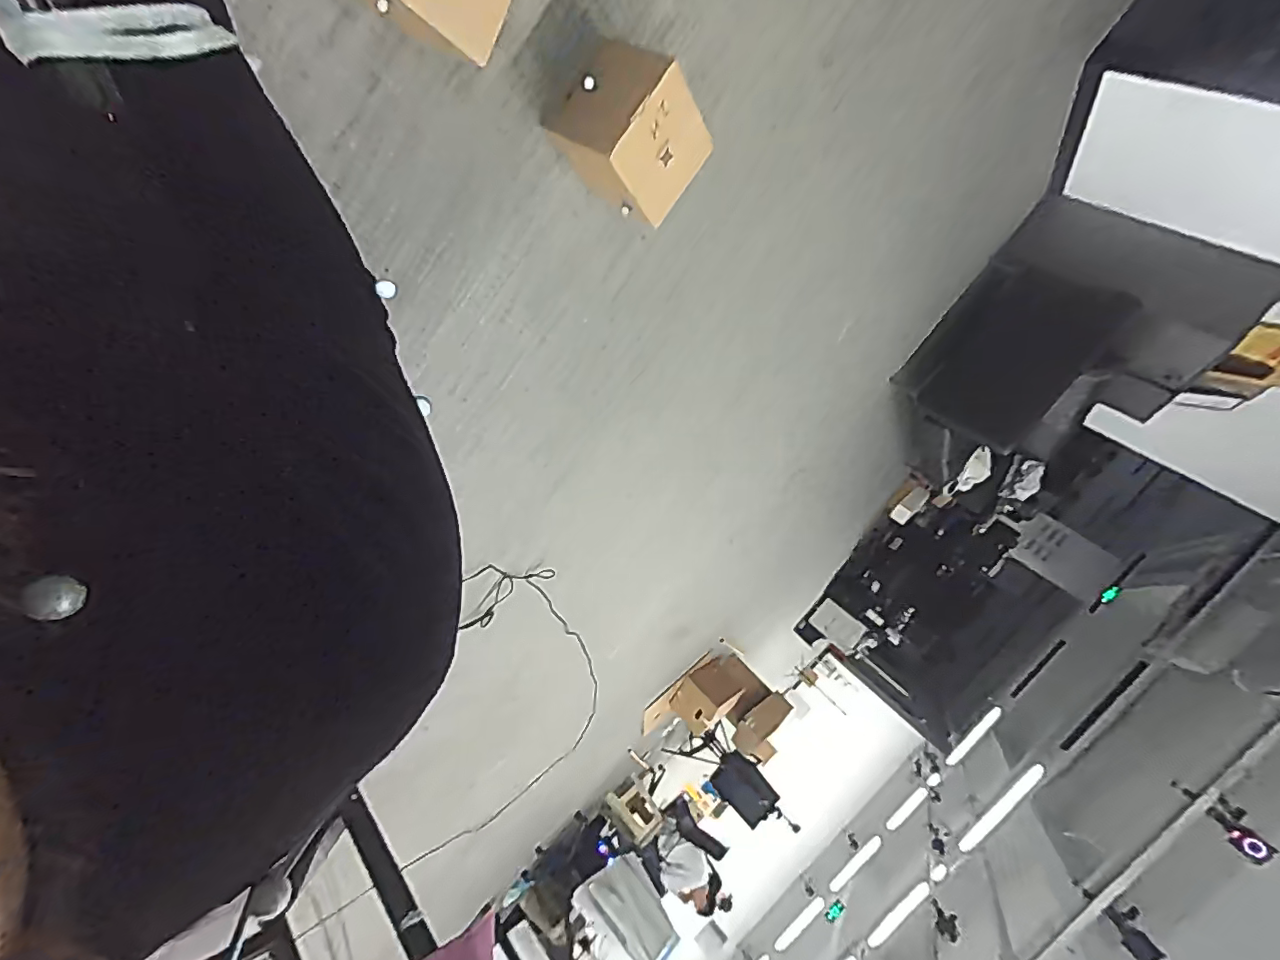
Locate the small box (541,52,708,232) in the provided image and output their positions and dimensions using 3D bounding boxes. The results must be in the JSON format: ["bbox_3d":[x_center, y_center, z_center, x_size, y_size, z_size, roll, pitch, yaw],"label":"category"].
[{"bbox_3d":[-0.024,-0.553,0.888,0.168,0.176,0.179,-54,151,6],"label":"small box"}]
